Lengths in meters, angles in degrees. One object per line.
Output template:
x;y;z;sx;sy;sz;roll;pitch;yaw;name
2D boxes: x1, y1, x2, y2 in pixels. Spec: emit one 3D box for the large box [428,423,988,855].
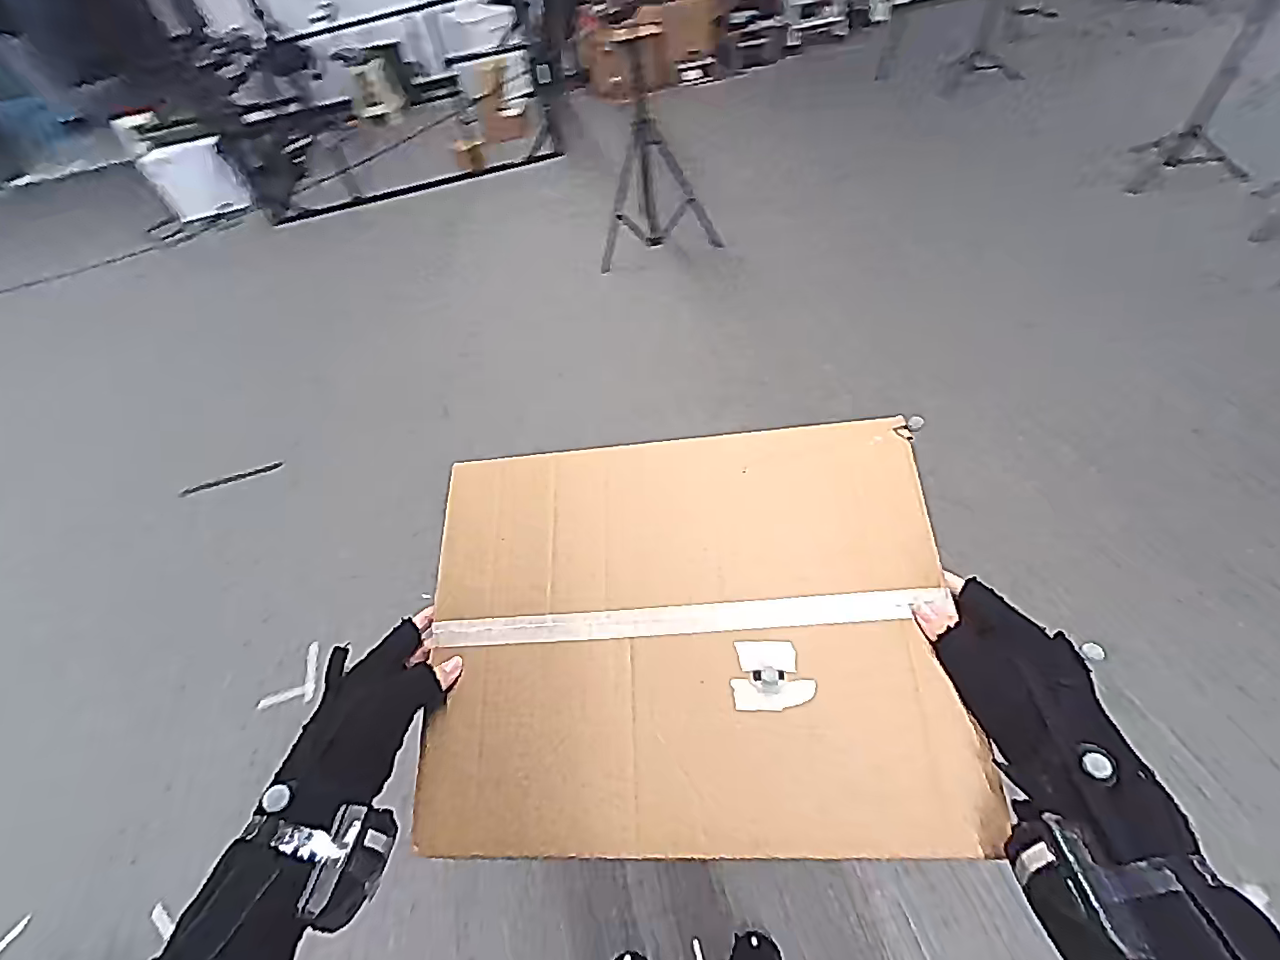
0.049;0.172;0.572;0.408;0.320;0.320;-7;67;7;large box
